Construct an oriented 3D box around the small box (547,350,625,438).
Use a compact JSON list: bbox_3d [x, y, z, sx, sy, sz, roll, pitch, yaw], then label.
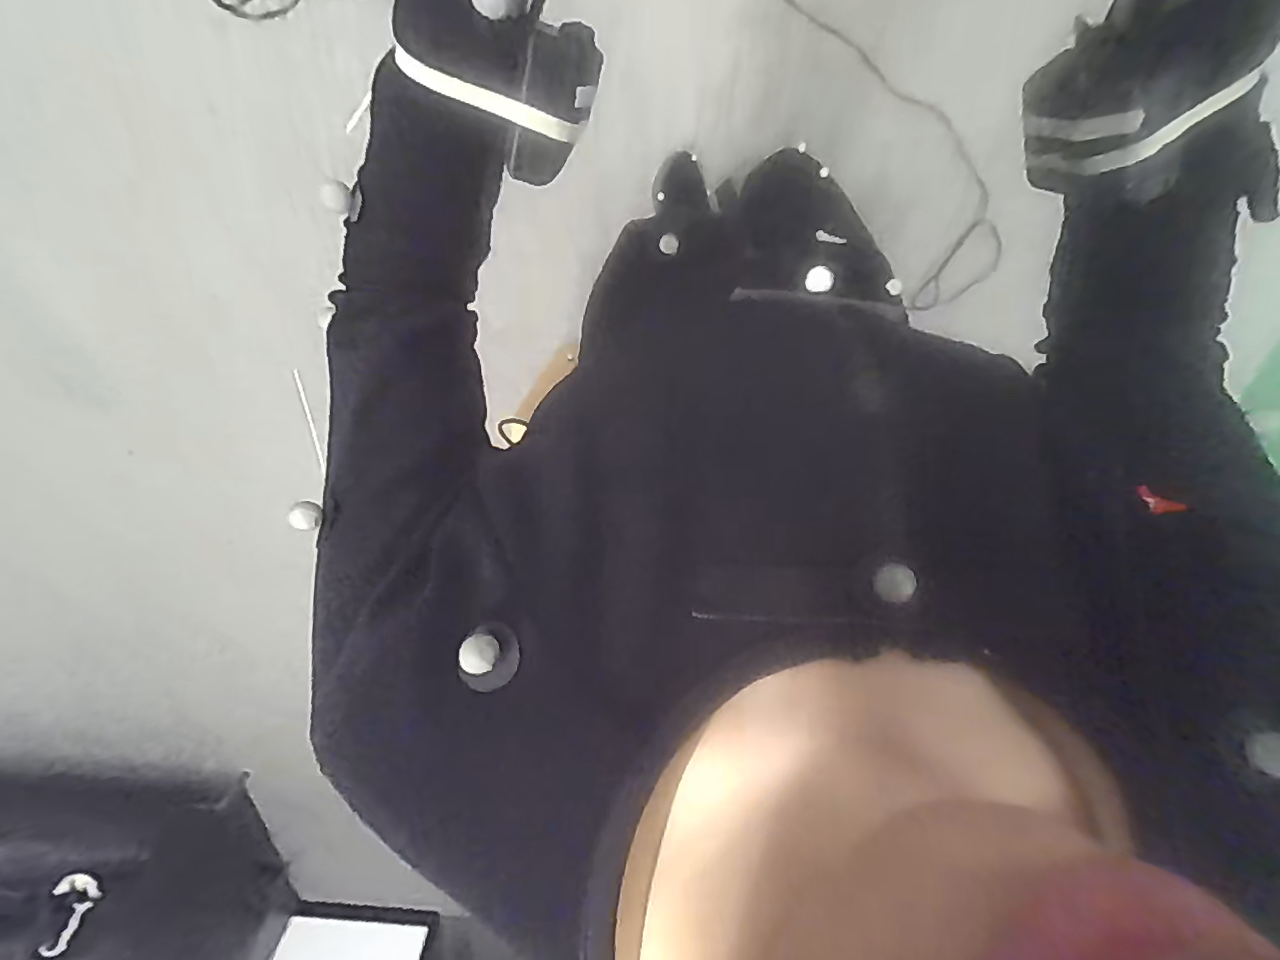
[{"bbox_3d":[-0.140,-0.228,1.398,0.179,0.176,0.168,9,120,-2],"label":"small box"}]
